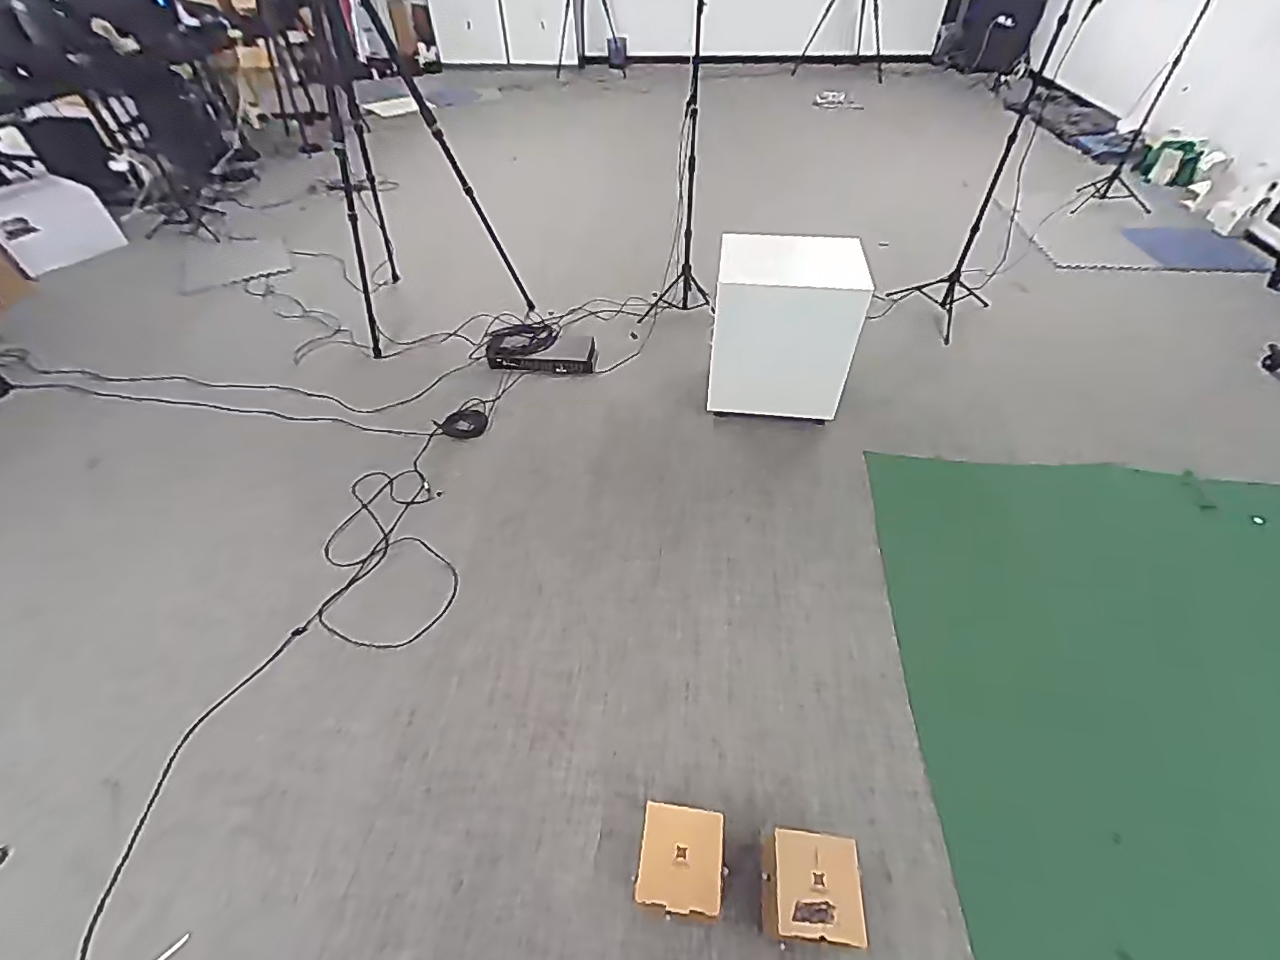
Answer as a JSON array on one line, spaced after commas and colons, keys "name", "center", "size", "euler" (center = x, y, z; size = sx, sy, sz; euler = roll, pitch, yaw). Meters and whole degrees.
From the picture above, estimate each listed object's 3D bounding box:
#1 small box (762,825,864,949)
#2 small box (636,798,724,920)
[{"name": "small box", "center": [0.348, 0.843, 1.119], "size": [0.168, 0.176, 0.179], "euler": [5, 47, 6]}, {"name": "small box", "center": [0.083, 0.809, 1.154], "size": [0.168, 0.176, 0.179], "euler": [6, 48, 6]}]
